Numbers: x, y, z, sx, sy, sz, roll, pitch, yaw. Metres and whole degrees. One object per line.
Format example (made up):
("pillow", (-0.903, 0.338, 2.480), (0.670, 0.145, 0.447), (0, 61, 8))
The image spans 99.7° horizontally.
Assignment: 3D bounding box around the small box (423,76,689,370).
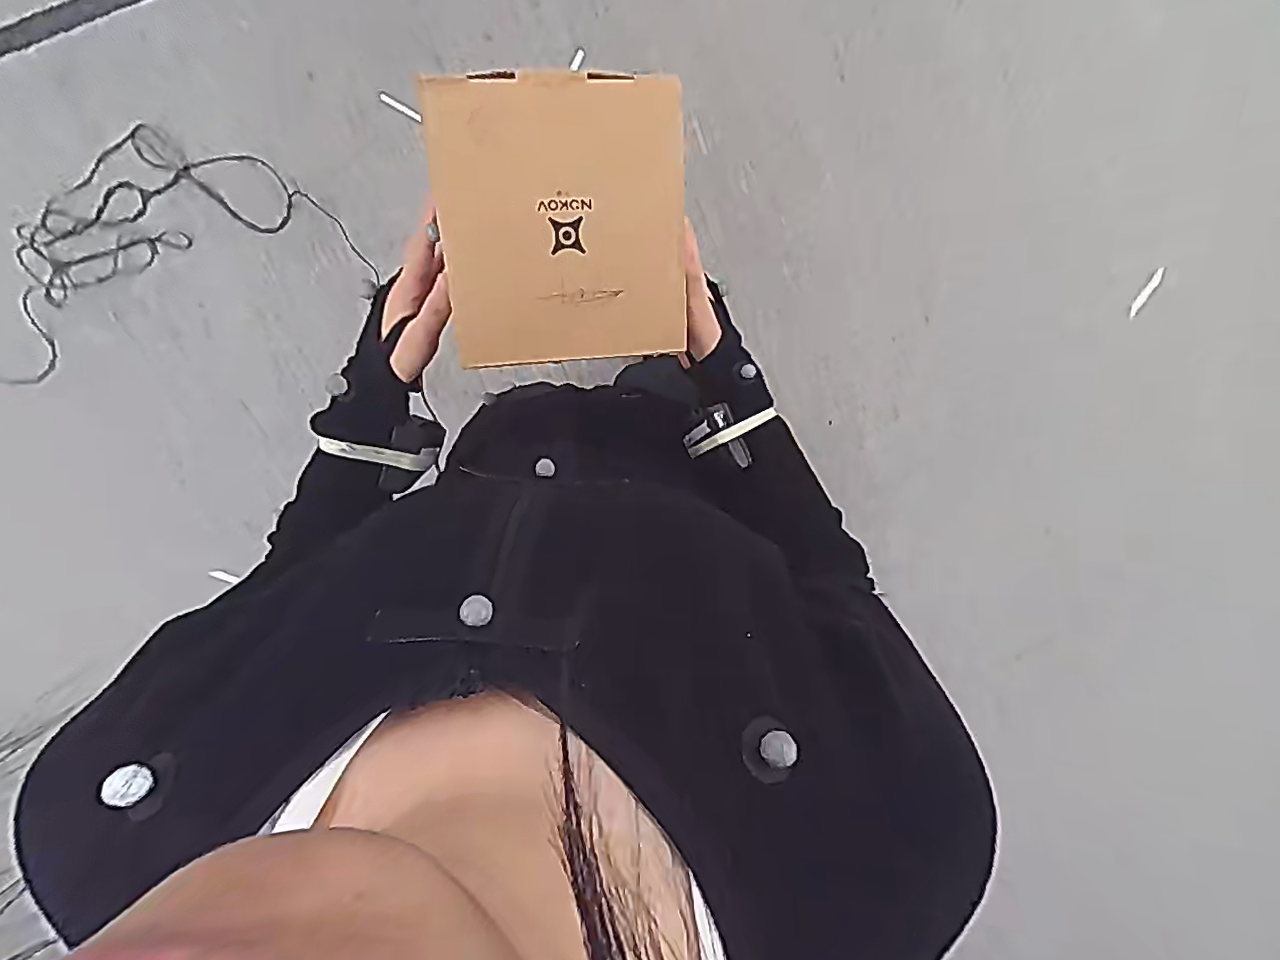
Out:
("small box", (-0.063, -0.192, 0.435), (0.168, 0.176, 0.179), (-7, 111, -9))
